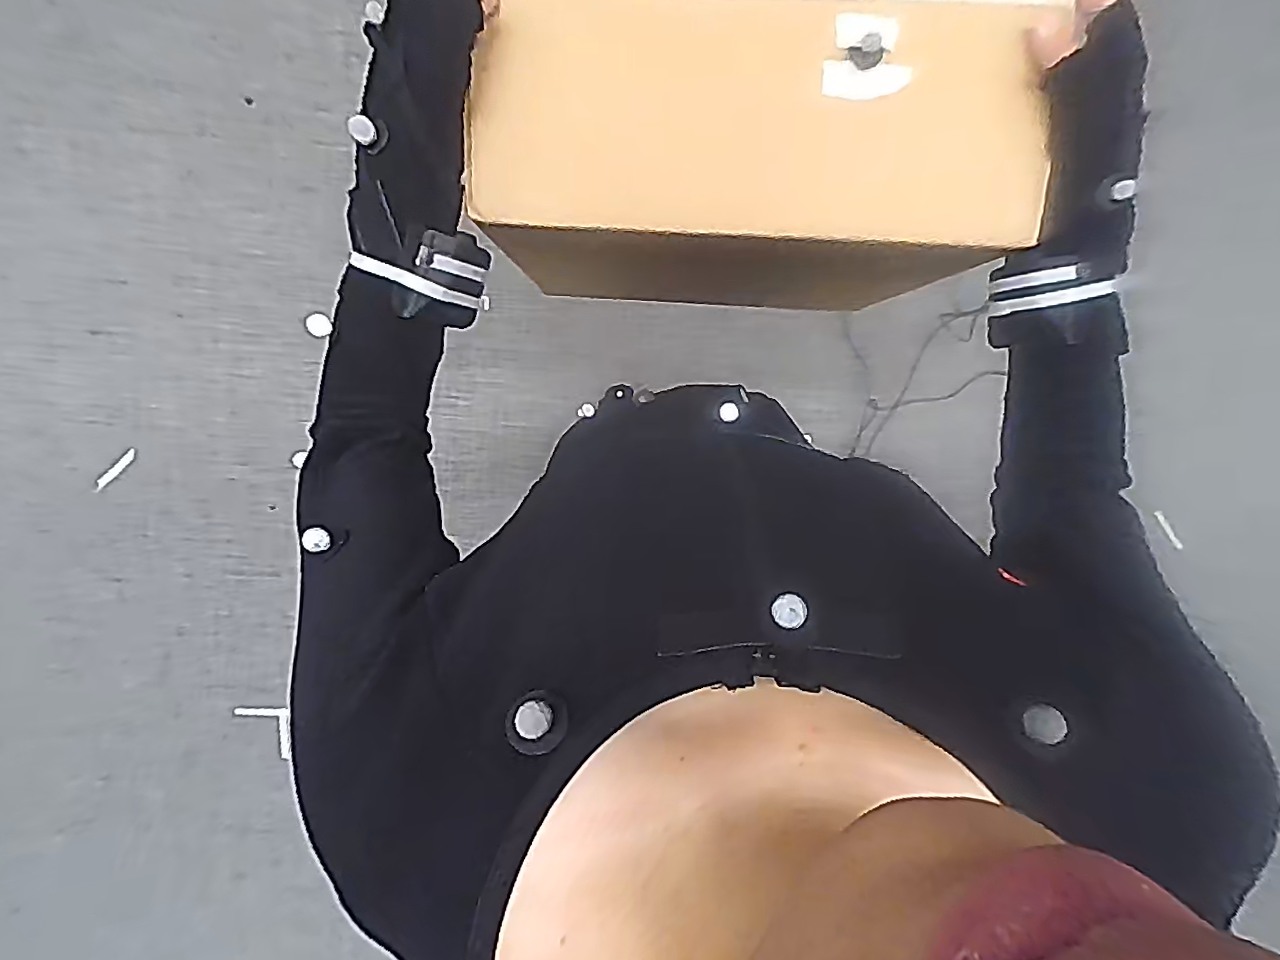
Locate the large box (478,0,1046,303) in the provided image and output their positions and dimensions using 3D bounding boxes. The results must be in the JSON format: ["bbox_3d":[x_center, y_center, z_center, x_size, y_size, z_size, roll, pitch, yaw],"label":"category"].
[{"bbox_3d":[0.082,-0.358,0.522,0.408,0.320,0.320,2,99,-1],"label":"large box"}]
